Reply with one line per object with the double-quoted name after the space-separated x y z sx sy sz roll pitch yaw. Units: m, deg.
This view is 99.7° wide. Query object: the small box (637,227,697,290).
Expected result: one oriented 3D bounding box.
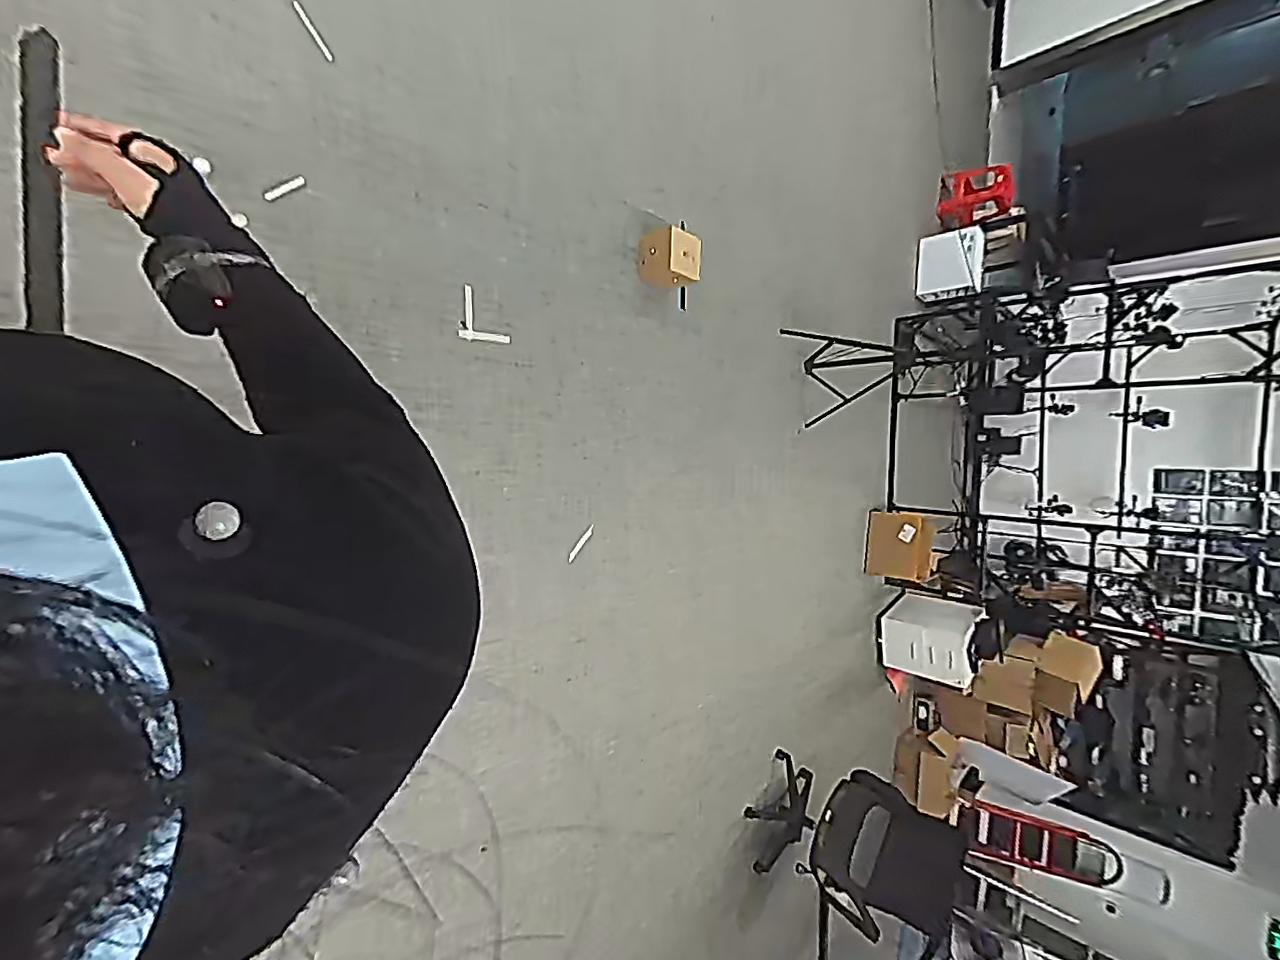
0.103 -0.859 2.117 0.179 0.176 0.168 1 93 -46 "small box"
